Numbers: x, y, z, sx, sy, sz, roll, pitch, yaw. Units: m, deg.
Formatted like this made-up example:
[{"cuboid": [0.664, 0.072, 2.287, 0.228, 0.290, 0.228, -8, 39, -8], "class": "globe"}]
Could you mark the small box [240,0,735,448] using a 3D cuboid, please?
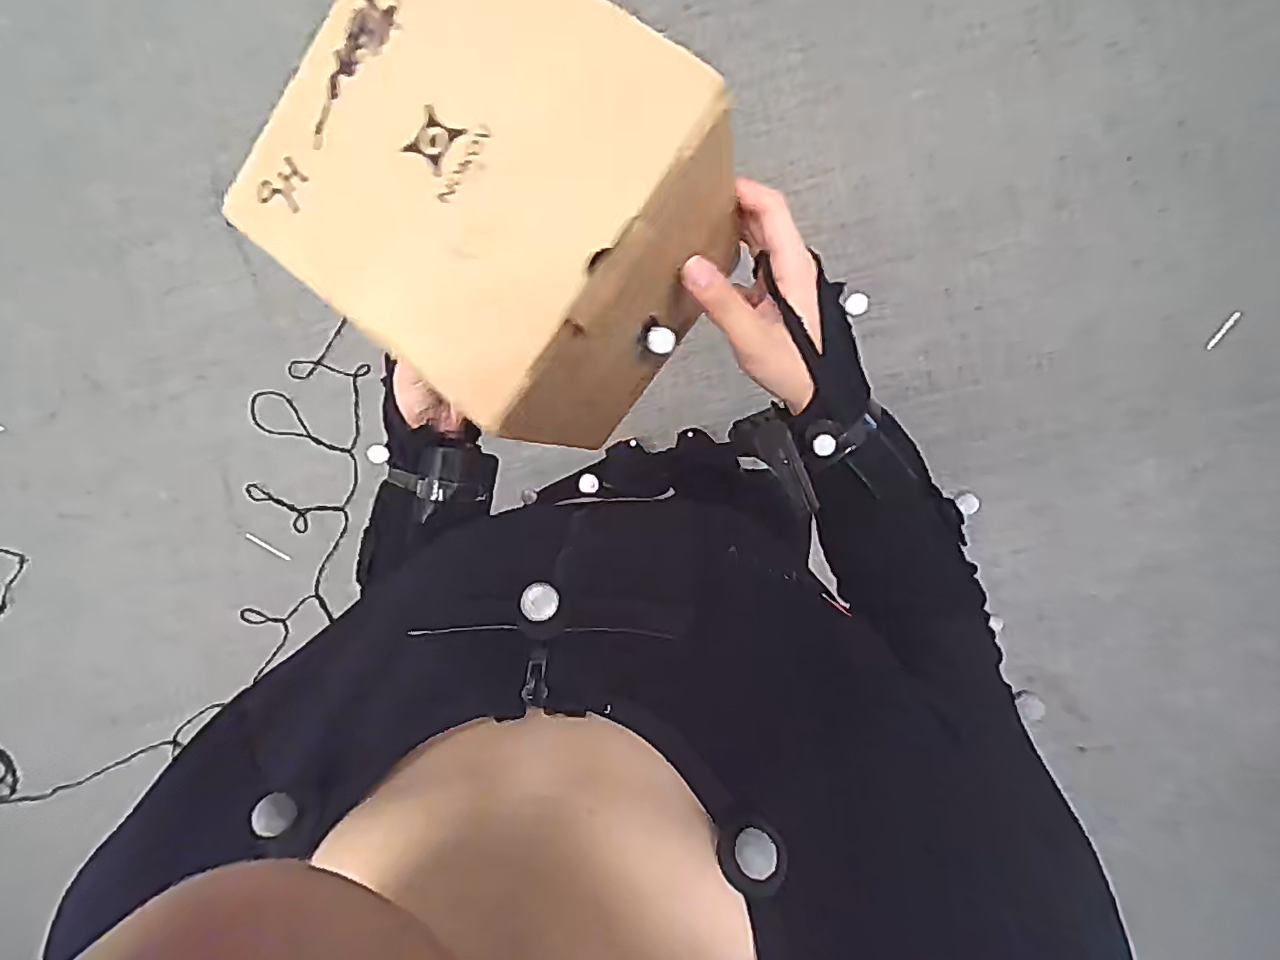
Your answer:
[{"cuboid": [-0.060, -0.134, 0.312, 0.179, 0.176, 0.168, 41, 99, 9], "class": "small box"}]
